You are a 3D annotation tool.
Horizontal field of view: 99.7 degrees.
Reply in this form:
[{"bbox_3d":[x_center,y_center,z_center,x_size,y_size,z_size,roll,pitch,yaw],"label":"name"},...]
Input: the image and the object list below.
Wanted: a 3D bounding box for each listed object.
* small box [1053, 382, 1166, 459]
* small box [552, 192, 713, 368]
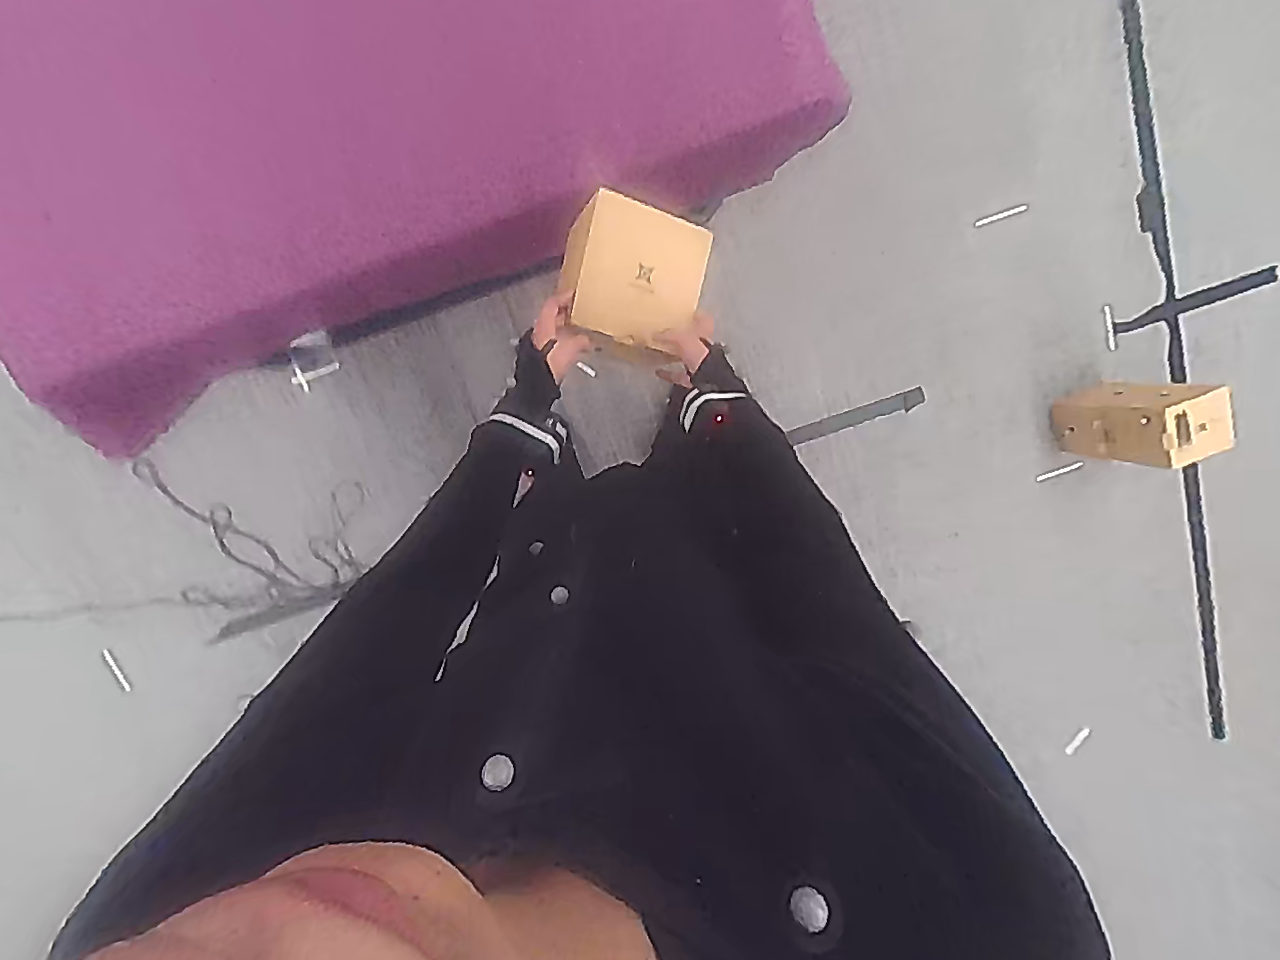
[{"bbox_3d":[1.373,-0.182,1.588,0.179,0.176,0.168,-23,103,2],"label":"small box"},{"bbox_3d":[-0.021,-0.270,0.777,0.168,0.176,0.179,12,94,-20],"label":"small box"}]
